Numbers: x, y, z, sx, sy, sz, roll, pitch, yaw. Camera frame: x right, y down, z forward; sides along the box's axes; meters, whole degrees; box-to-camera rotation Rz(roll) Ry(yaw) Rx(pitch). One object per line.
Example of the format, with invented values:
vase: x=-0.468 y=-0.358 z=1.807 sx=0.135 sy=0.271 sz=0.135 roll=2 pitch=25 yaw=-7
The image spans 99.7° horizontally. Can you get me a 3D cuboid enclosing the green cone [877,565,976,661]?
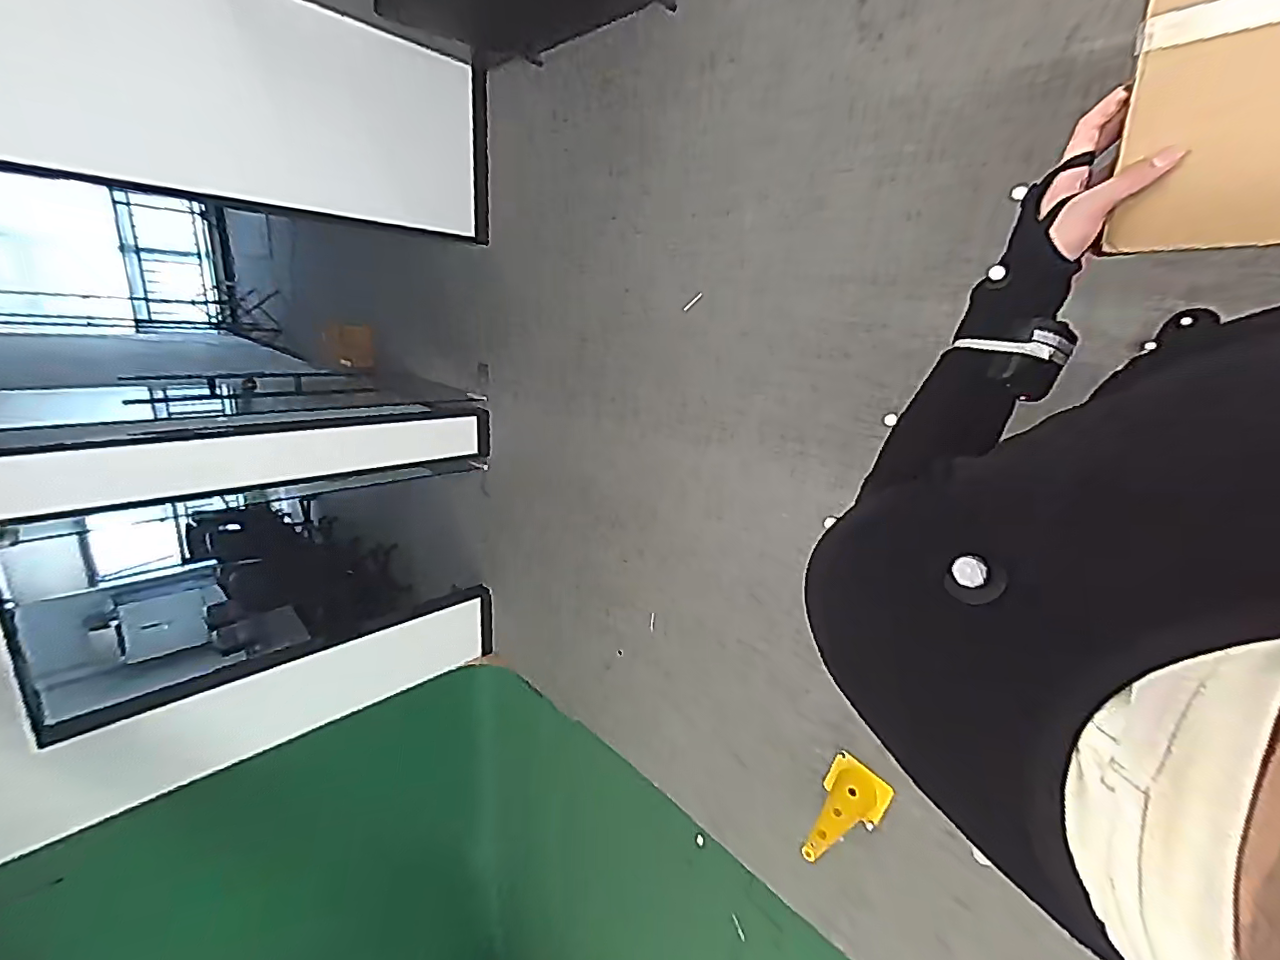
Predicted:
green cone: x=0.747 y=0.404 z=1.496 sx=0.200 sy=0.368 sz=0.202 roll=27 pitch=119 yaw=39
